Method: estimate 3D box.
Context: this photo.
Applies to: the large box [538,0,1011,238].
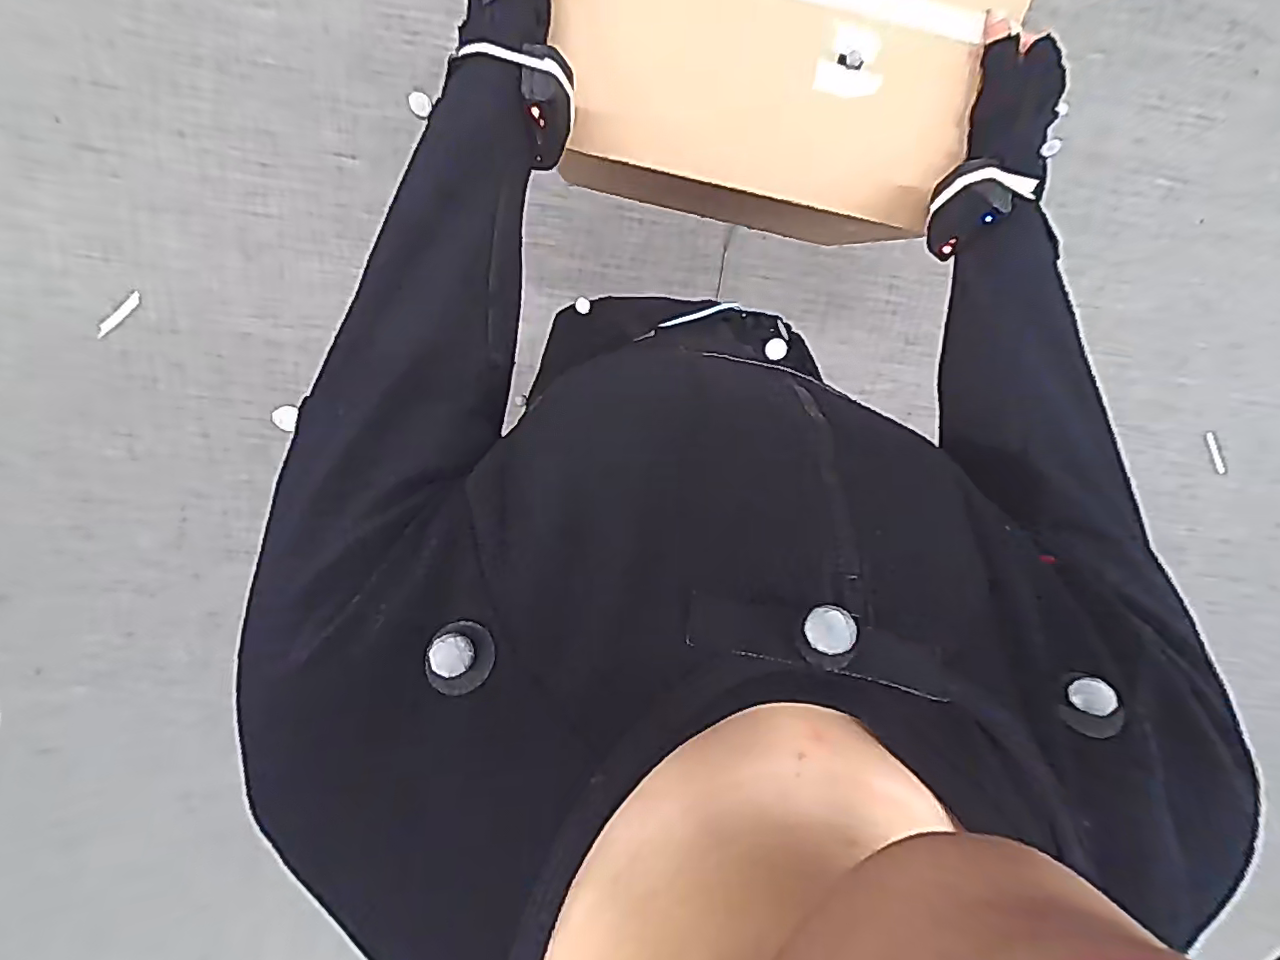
[{"bbox_3d":[0.118,-0.478,0.605,0.408,0.320,0.320,10,113,-6],"label":"large box"}]
